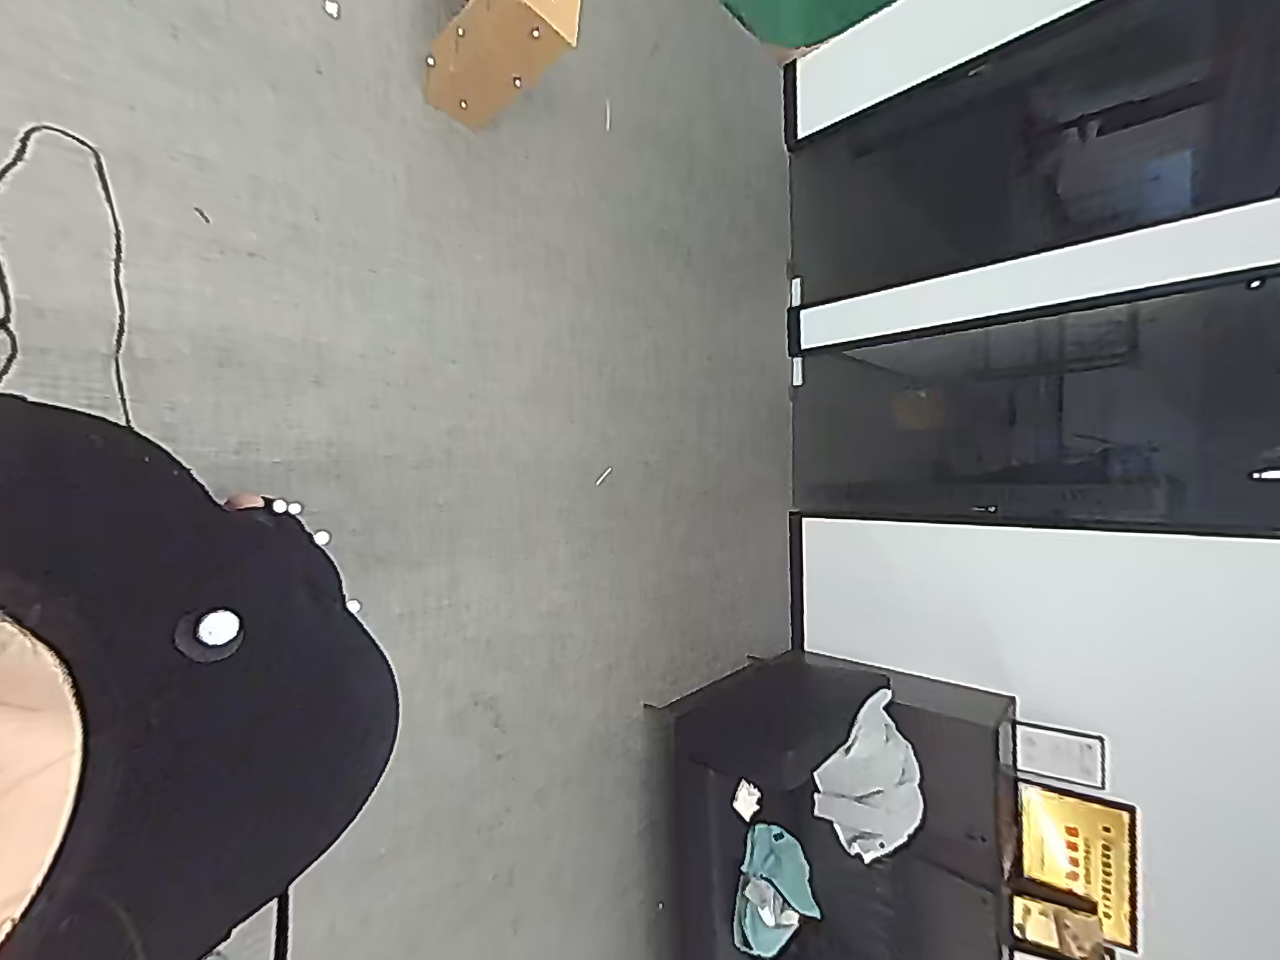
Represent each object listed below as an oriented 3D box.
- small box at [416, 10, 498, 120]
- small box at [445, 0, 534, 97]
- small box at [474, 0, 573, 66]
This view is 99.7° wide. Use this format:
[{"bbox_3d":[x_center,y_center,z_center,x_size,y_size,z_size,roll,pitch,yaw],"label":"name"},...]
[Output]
[{"bbox_3d":[-0.529,-1.200,1.585,0.179,0.176,0.168,7,85,-46],"label":"small box"},{"bbox_3d":[-0.406,-1.195,1.476,0.179,0.176,0.168,4,87,-47],"label":"small box"},{"bbox_3d":[-0.291,-1.198,1.362,0.179,0.176,0.168,8,85,-46],"label":"small box"}]
